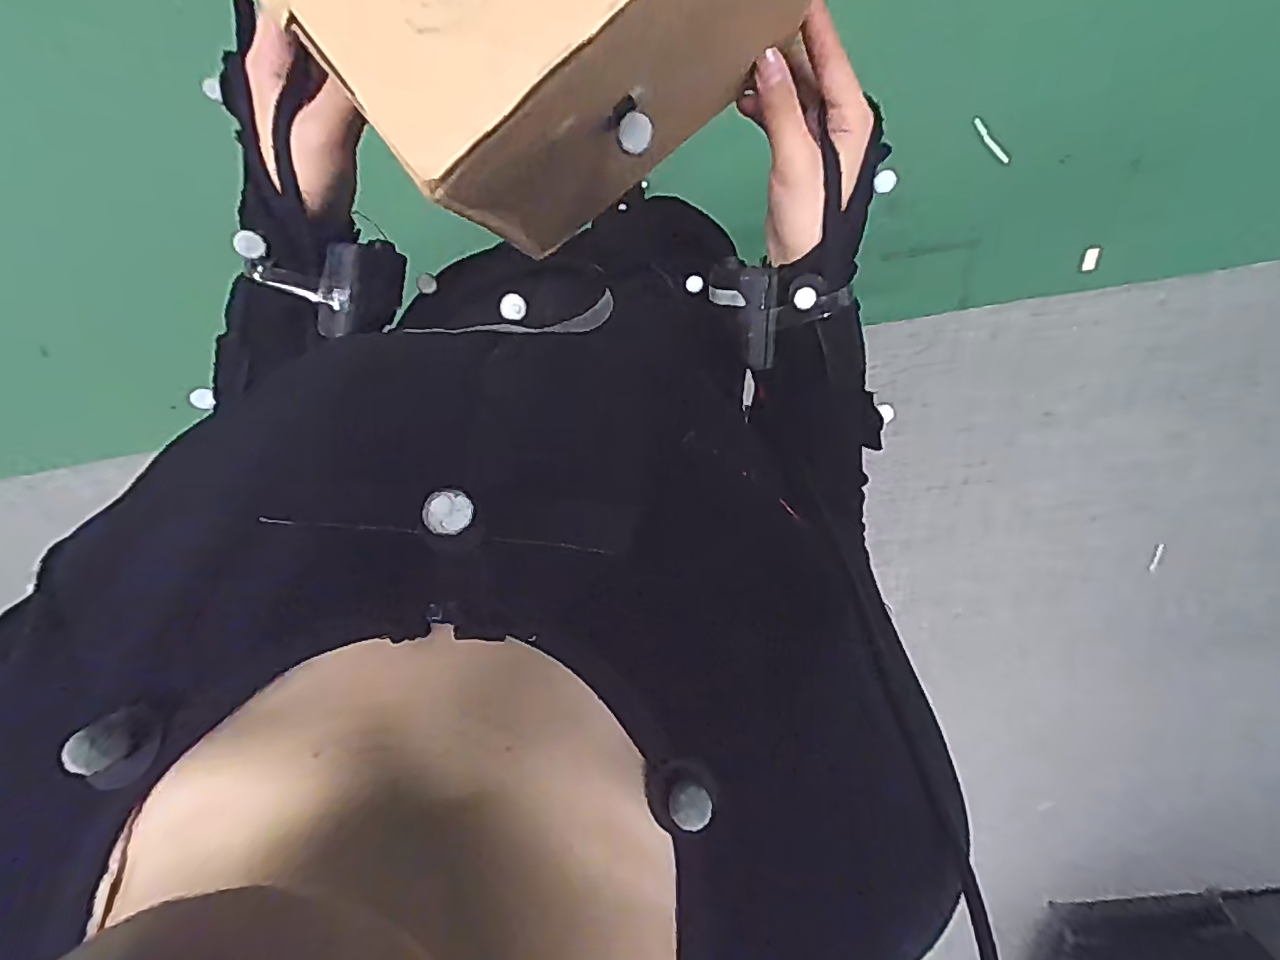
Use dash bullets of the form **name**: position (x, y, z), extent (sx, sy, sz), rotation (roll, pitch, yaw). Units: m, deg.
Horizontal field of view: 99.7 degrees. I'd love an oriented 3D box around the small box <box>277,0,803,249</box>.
- **small box**: position (-0.039, -0.220, 0.214), extent (0.179, 0.176, 0.168), rotation (-35, 101, 11)
